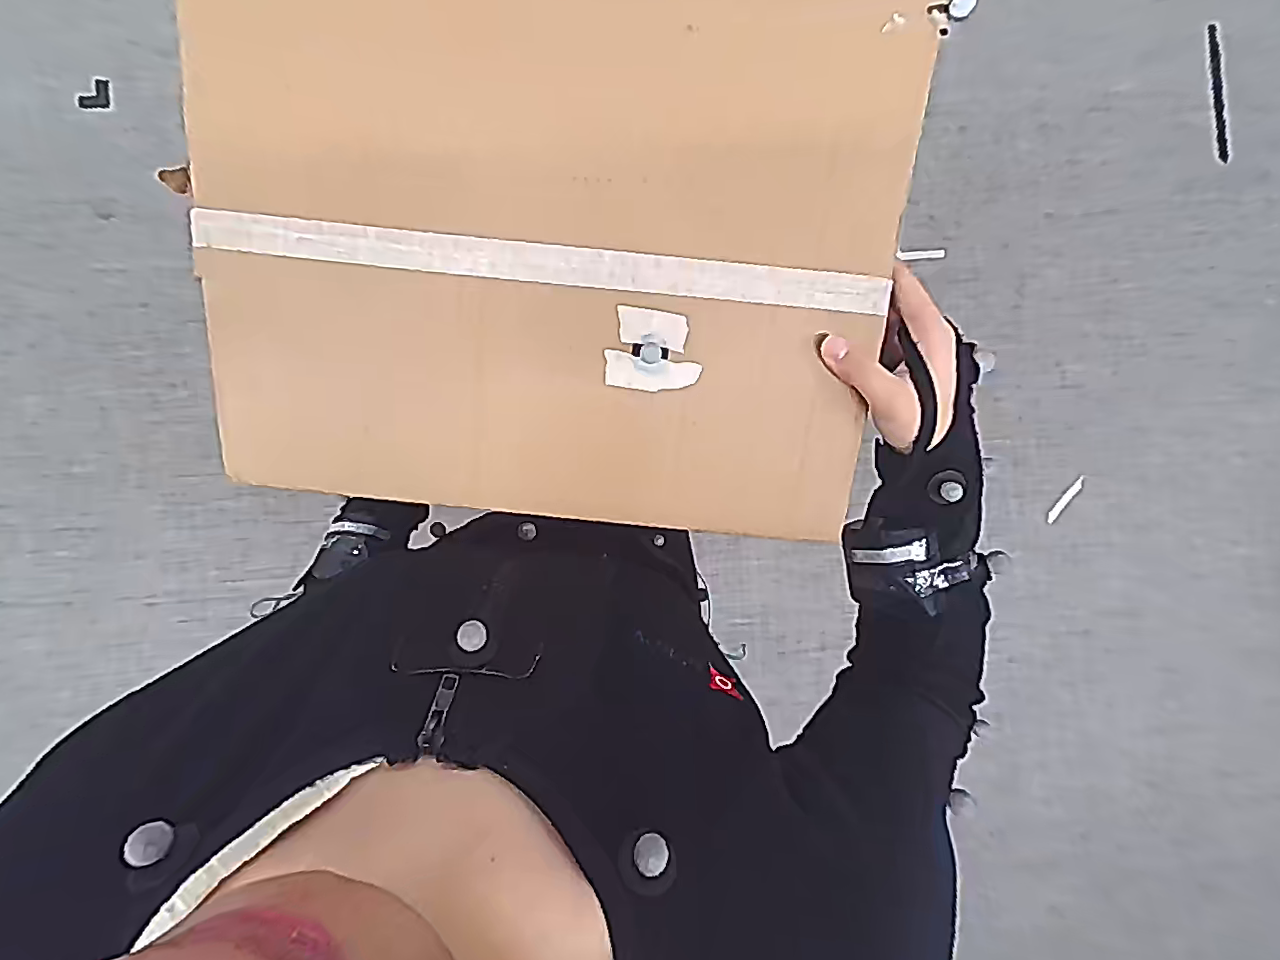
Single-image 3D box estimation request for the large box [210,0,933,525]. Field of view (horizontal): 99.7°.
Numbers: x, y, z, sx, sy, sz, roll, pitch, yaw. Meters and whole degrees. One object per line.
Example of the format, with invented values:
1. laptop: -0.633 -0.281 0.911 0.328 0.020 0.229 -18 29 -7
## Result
1. large box: -0.049 -0.166 0.472 0.408 0.320 0.320 5 105 -2
